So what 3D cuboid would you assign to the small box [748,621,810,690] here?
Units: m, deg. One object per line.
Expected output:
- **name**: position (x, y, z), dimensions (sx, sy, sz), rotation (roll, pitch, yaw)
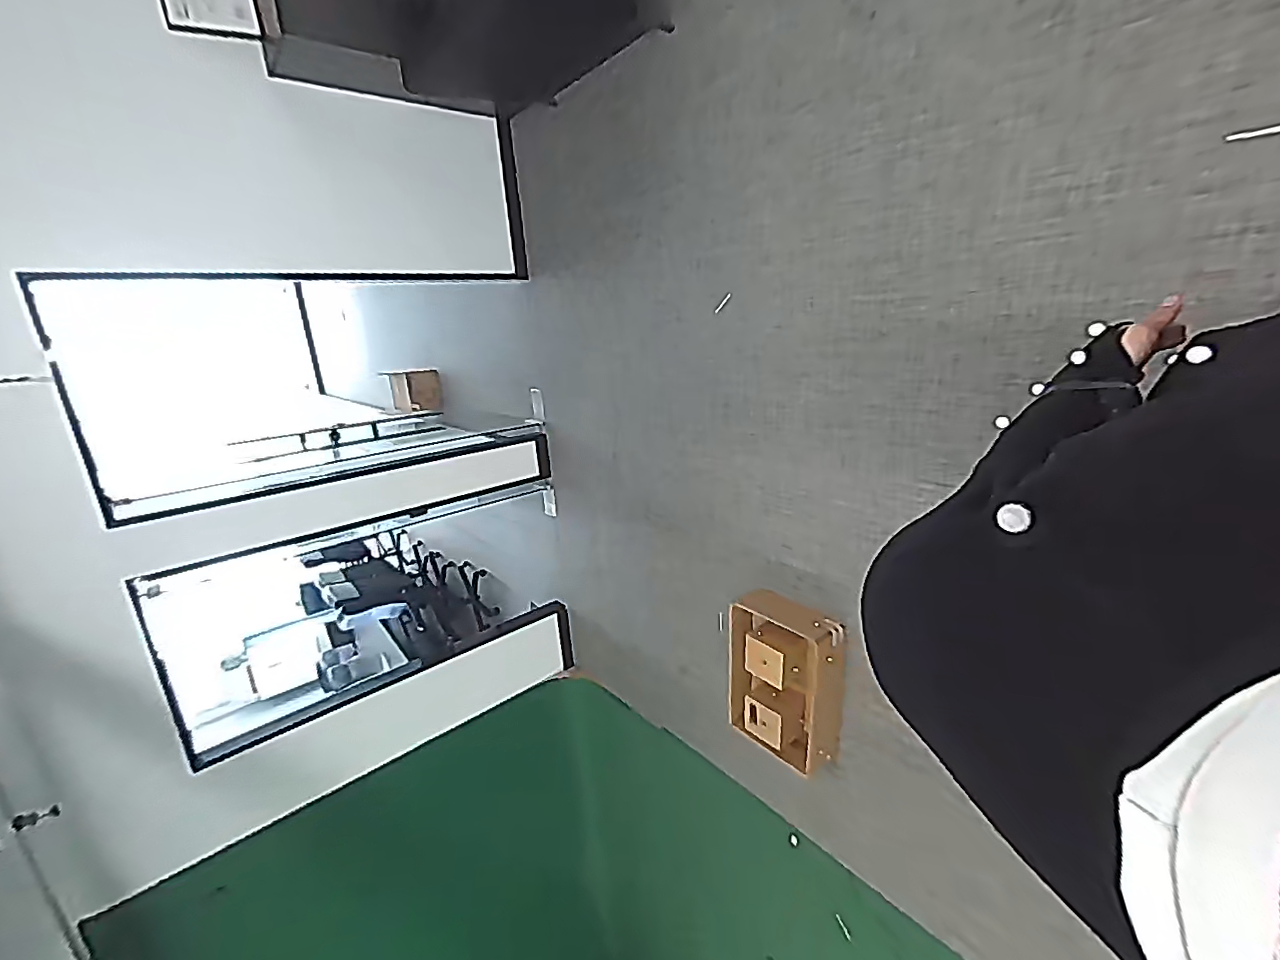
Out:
- **small box**: position (0.545, 0.676, 2.111), dimensions (0.179, 0.176, 0.168), rotation (19, 117, 48)
